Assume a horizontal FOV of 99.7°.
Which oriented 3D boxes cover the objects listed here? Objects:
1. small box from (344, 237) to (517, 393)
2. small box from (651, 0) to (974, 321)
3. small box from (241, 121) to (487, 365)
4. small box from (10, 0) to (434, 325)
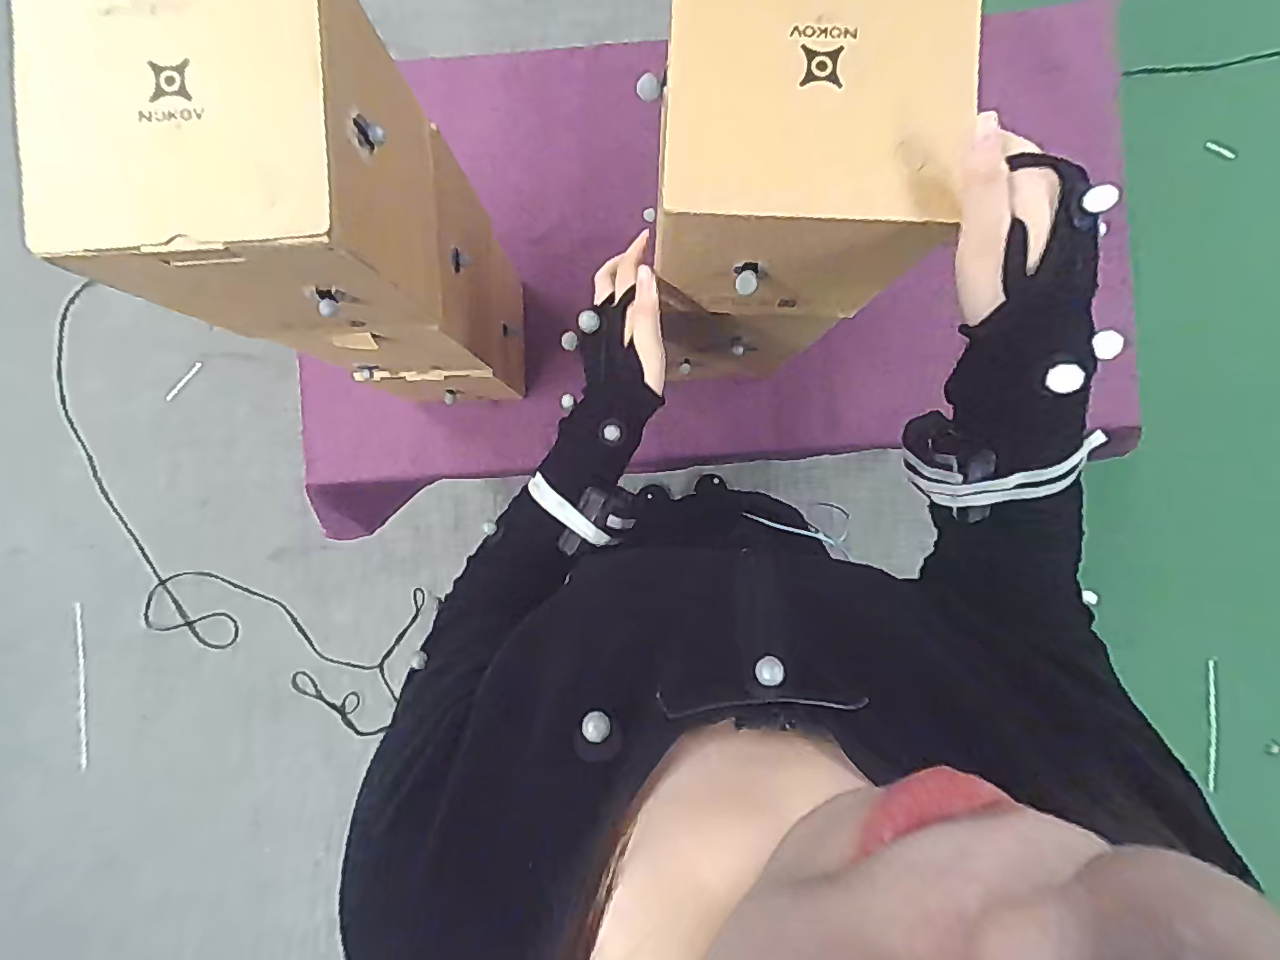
[{"bbox_3d":[-0.257,-0.207,0.697,0.168,0.176,0.179,0,91,-1],"label":"small box"},{"bbox_3d":[0.095,-0.219,0.371,0.168,0.176,0.179,3,89,0],"label":"small box"},{"bbox_3d":[-0.254,-0.215,0.533,0.168,0.176,0.179,0,89,0],"label":"small box"},{"bbox_3d":[-0.252,-0.211,0.370,0.168,0.176,0.179,-2,90,-1],"label":"small box"}]
